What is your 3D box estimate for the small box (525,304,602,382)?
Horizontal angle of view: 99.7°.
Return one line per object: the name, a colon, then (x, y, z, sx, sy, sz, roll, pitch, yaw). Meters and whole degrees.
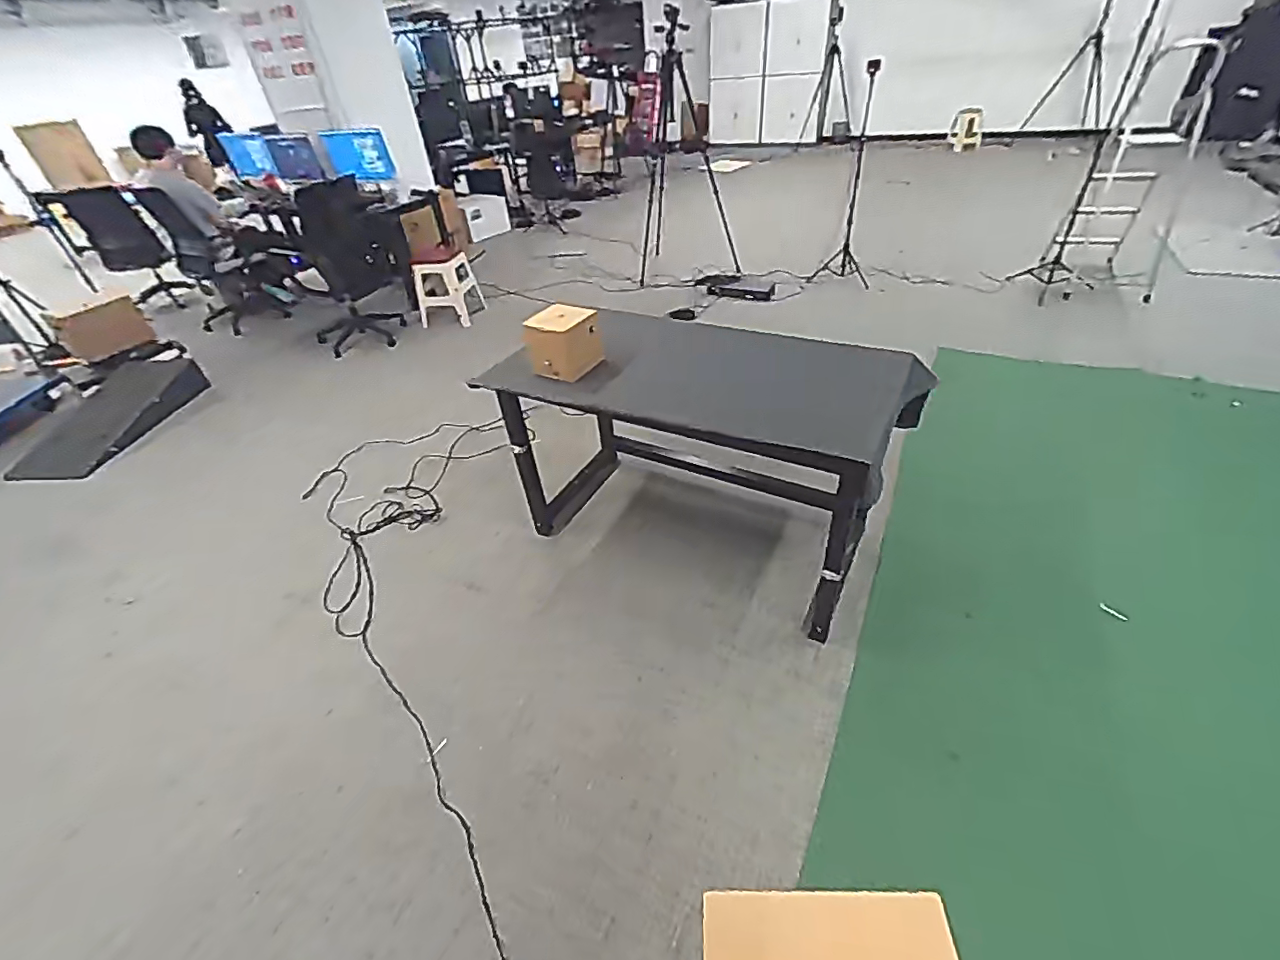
small box: (-0.232, -0.431, 1.696, 0.168, 0.176, 0.179, 18, 43, 27)
